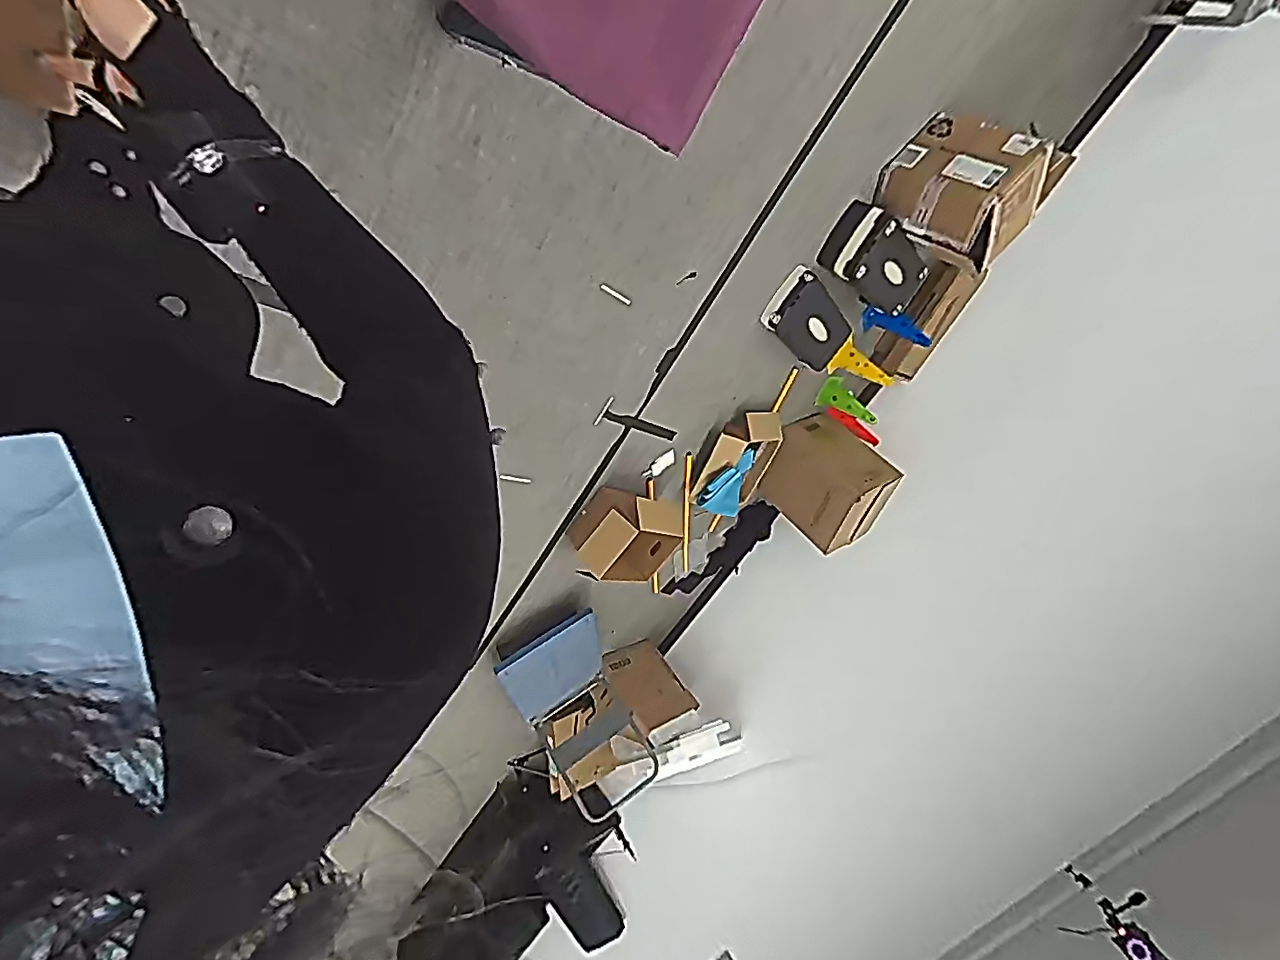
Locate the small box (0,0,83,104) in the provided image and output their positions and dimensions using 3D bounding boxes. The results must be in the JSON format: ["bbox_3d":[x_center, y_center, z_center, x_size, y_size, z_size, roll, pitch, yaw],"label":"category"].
[{"bbox_3d":[-0.481,-0.393,0.345,0.168,0.176,0.179,-5,90,-45],"label":"small box"}]
